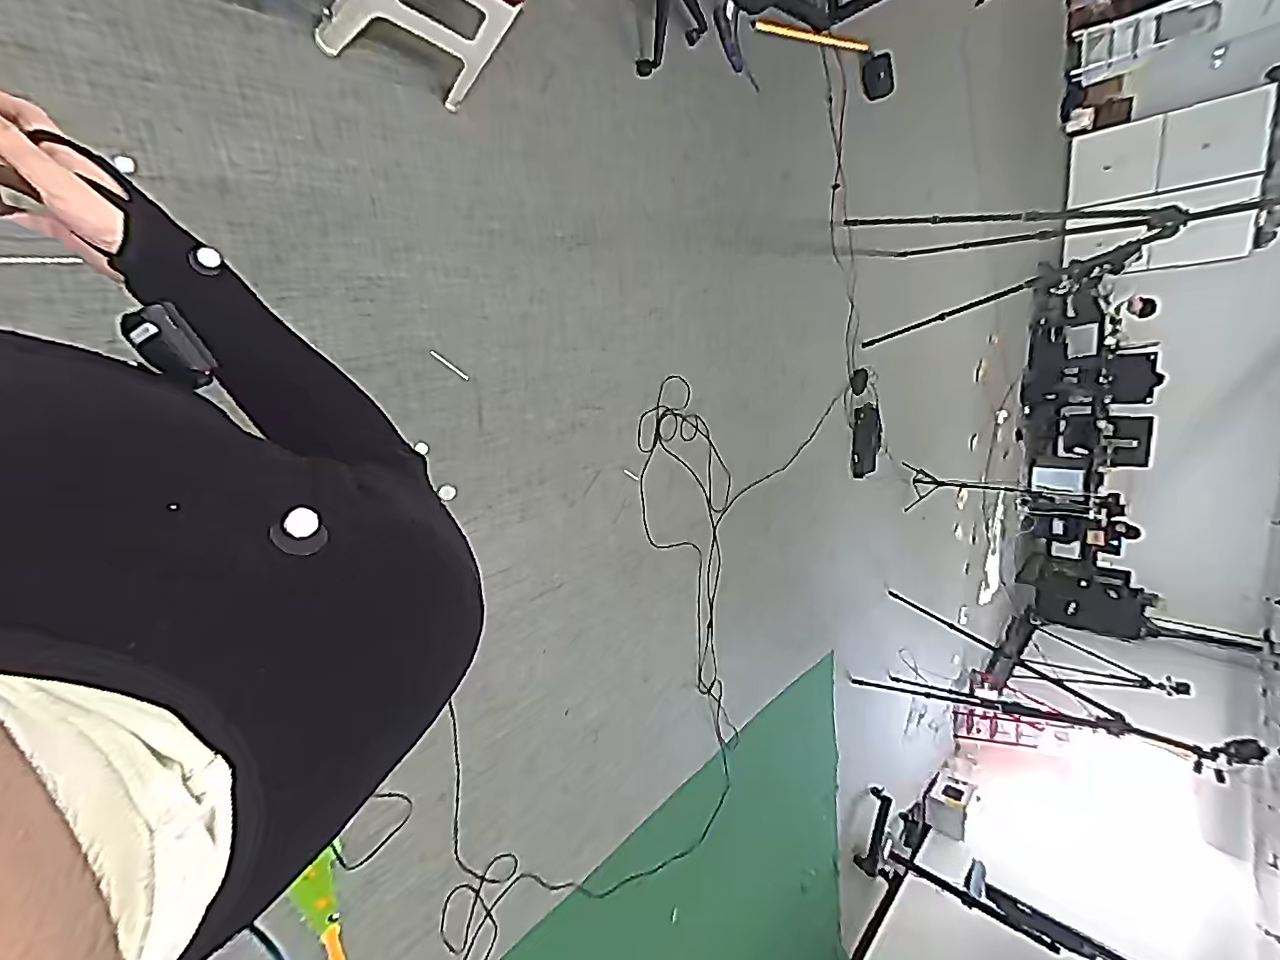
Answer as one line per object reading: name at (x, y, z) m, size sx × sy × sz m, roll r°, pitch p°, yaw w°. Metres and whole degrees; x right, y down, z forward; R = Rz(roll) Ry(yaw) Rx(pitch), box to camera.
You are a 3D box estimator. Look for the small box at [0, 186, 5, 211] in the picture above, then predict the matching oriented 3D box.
small box at (-0.532, -0.274, 0.319) m, size 0.168 × 0.176 × 0.179 m, roll -18°, pitch 110°, yaw -42°
